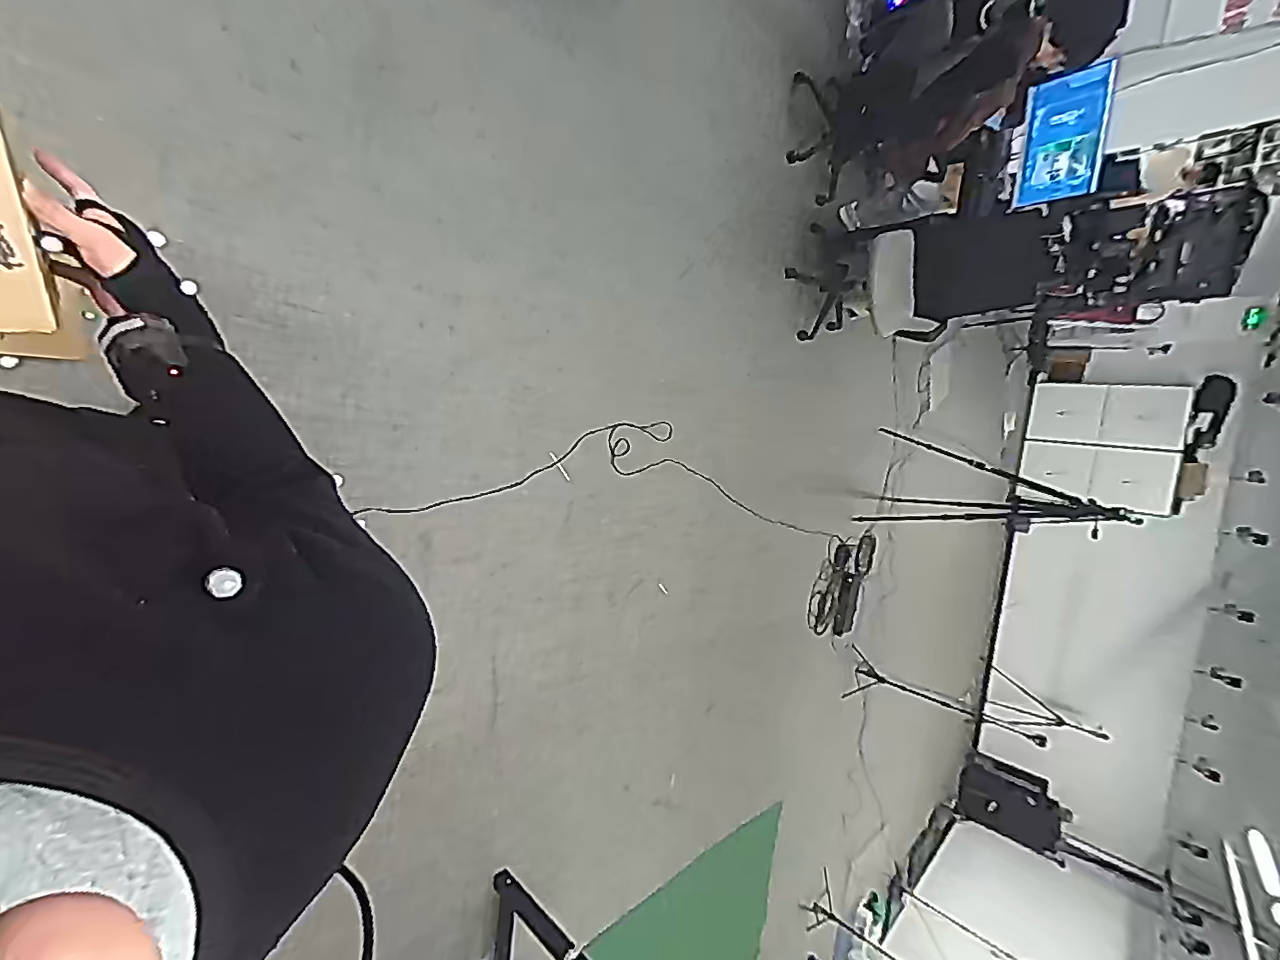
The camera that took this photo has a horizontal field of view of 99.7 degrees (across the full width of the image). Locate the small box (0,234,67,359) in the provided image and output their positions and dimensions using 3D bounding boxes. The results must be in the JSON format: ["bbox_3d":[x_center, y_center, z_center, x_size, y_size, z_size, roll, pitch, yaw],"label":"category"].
[{"bbox_3d":[-1.021,-0.287,0.844,0.168,0.176,0.179,-4,101,-46],"label":"small box"}]
